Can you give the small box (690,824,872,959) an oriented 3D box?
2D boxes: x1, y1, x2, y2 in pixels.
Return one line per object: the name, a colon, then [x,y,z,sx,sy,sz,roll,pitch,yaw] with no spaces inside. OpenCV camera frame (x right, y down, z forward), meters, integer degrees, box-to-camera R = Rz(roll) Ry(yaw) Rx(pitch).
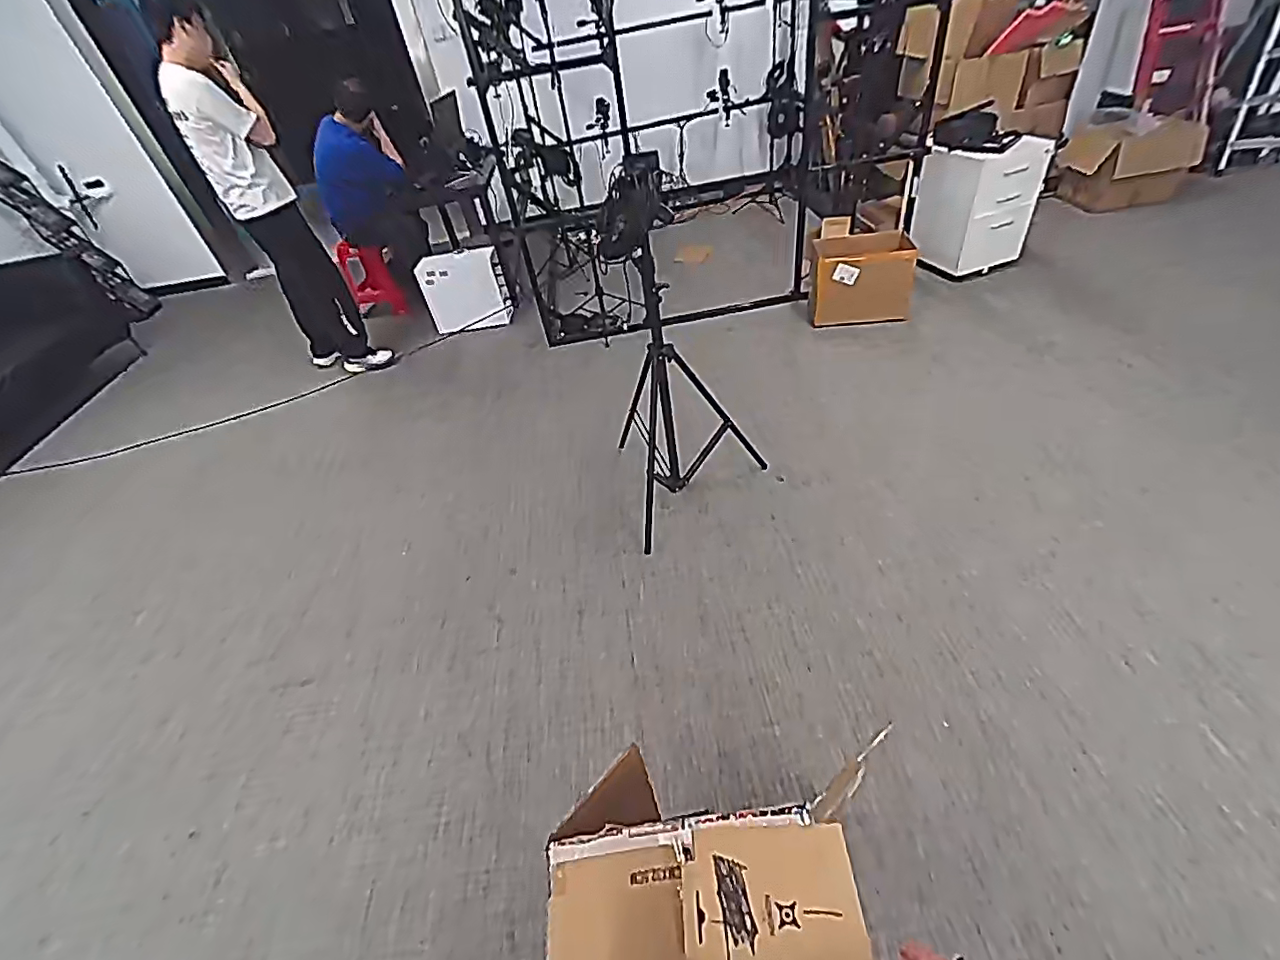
small box: [0.154,0.518,0.625,0.179,0.176,0.168,-4,43,3]
